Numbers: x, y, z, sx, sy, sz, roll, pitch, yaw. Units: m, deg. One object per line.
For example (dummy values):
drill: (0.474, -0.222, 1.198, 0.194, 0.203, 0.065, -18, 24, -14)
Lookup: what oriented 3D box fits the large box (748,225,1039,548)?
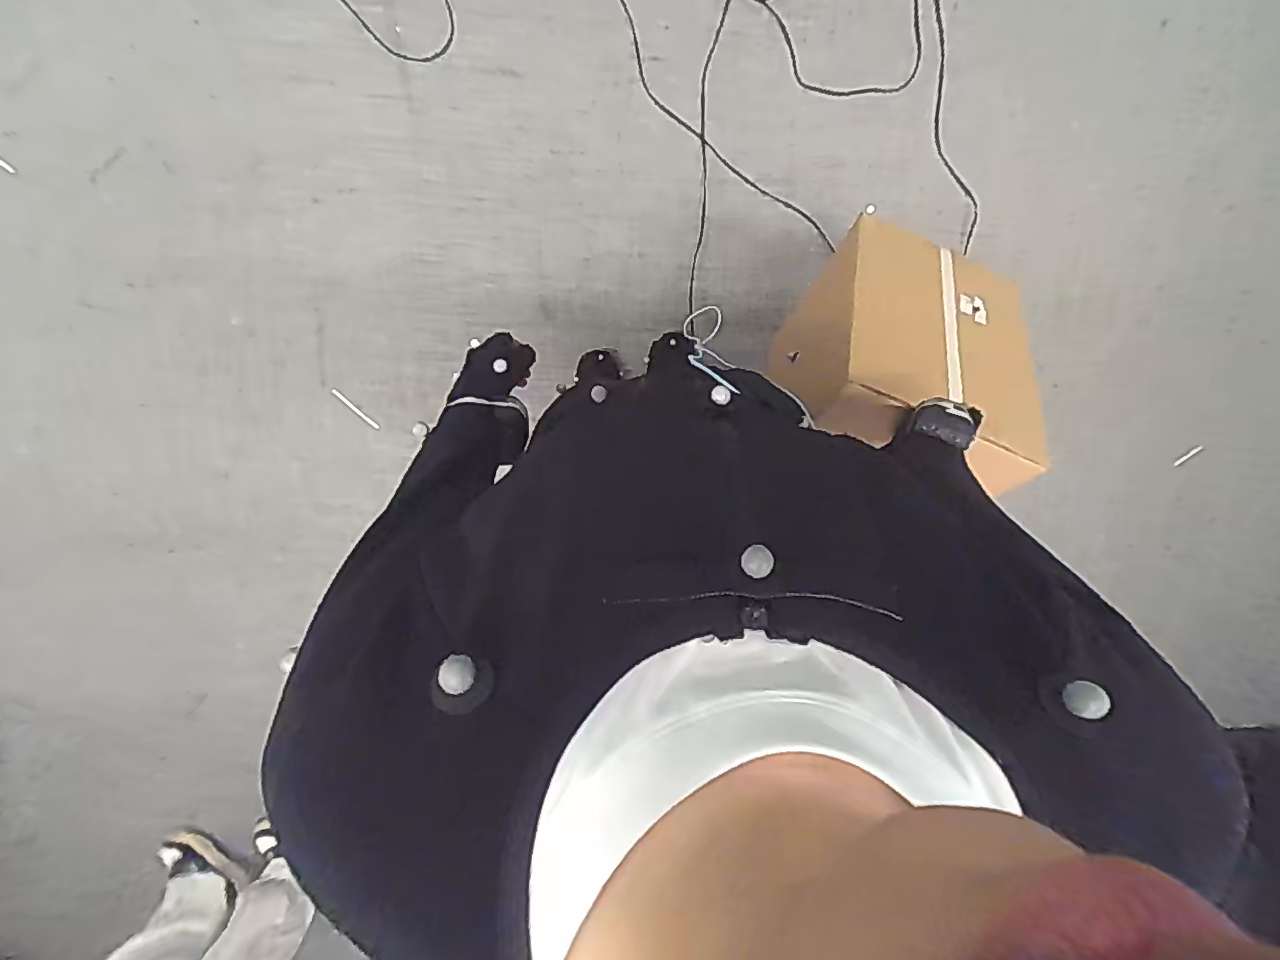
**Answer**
large box: (0.418, -0.151, 0.956, 0.320, 0.408, 0.320, 23, 147, -7)
